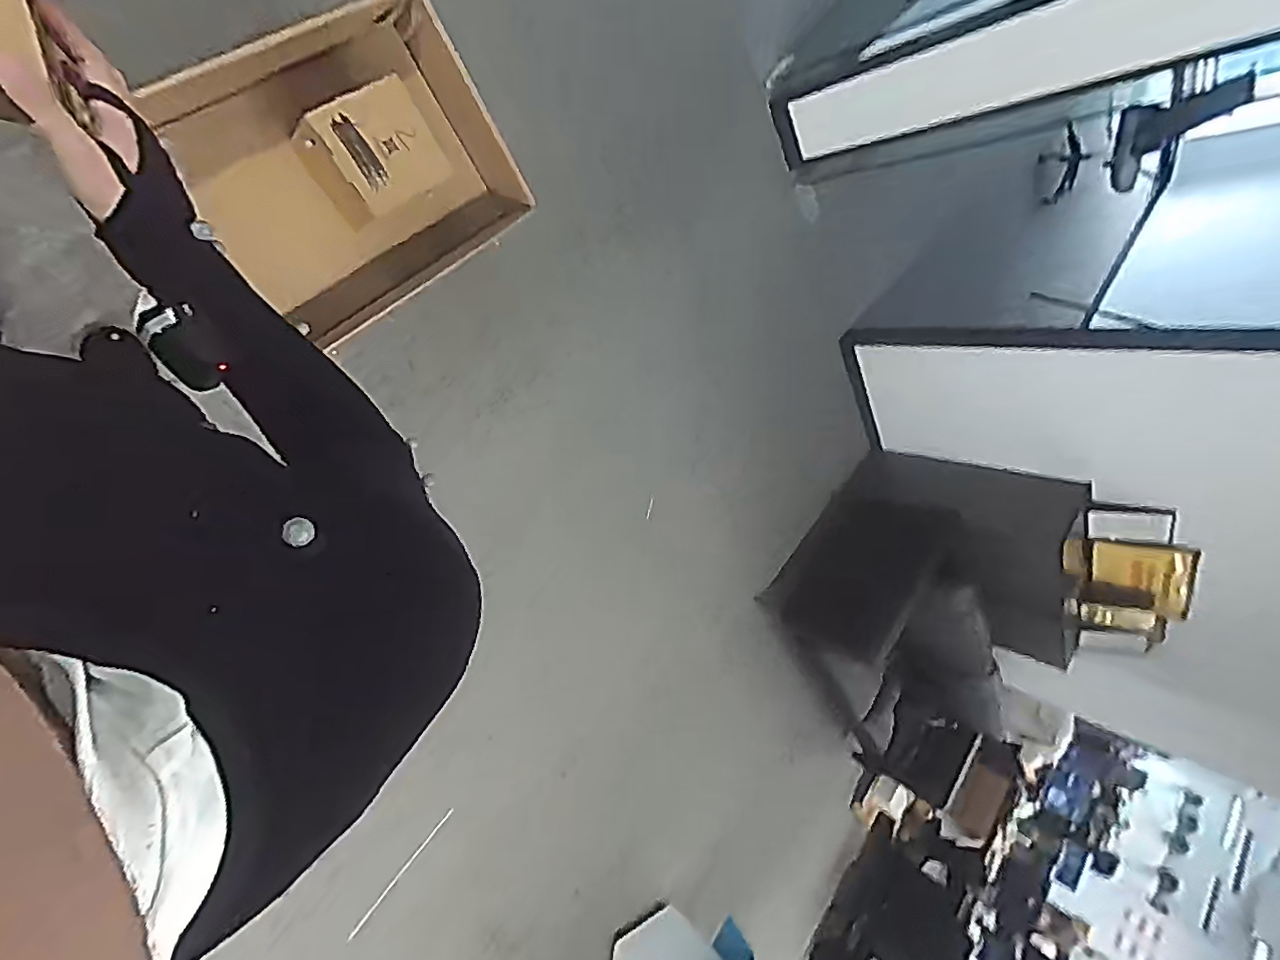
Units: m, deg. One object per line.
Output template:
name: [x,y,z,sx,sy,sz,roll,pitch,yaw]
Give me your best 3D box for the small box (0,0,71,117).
small box: [-0.528,-0.365,0.358,0.168,0.176,0.179,-15,116,-35]
